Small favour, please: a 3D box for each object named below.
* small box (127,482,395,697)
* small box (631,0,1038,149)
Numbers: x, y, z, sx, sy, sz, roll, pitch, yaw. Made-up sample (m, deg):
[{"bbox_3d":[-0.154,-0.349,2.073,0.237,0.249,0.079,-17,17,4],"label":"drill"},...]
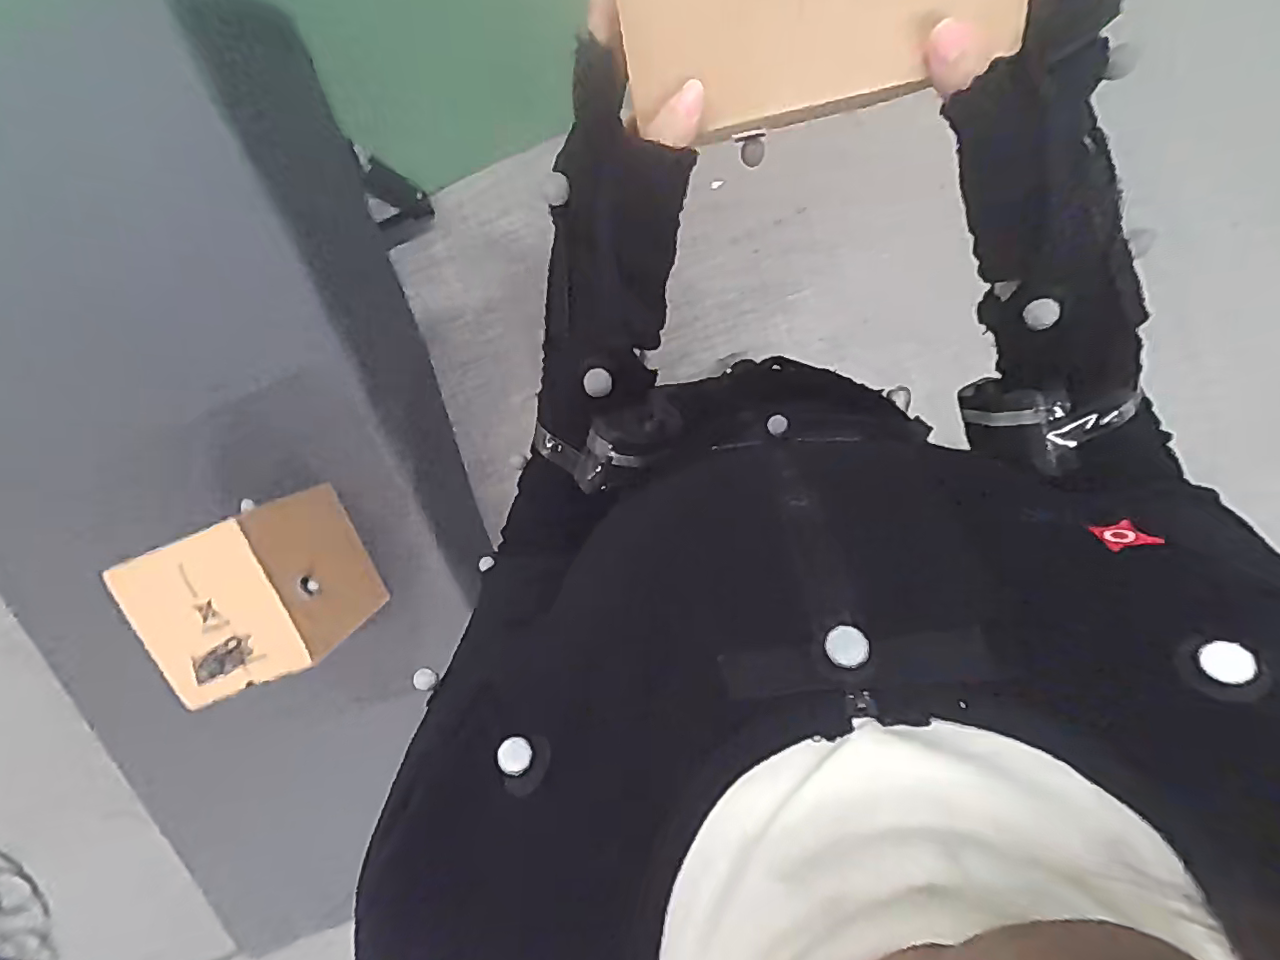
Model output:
[{"bbox_3d":[-0.438,0.122,0.660,0.168,0.176,0.179,-22,100,7],"label":"small box"},{"bbox_3d":[0.074,-0.287,0.272,0.168,0.176,0.179,-9,118,7],"label":"small box"}]
